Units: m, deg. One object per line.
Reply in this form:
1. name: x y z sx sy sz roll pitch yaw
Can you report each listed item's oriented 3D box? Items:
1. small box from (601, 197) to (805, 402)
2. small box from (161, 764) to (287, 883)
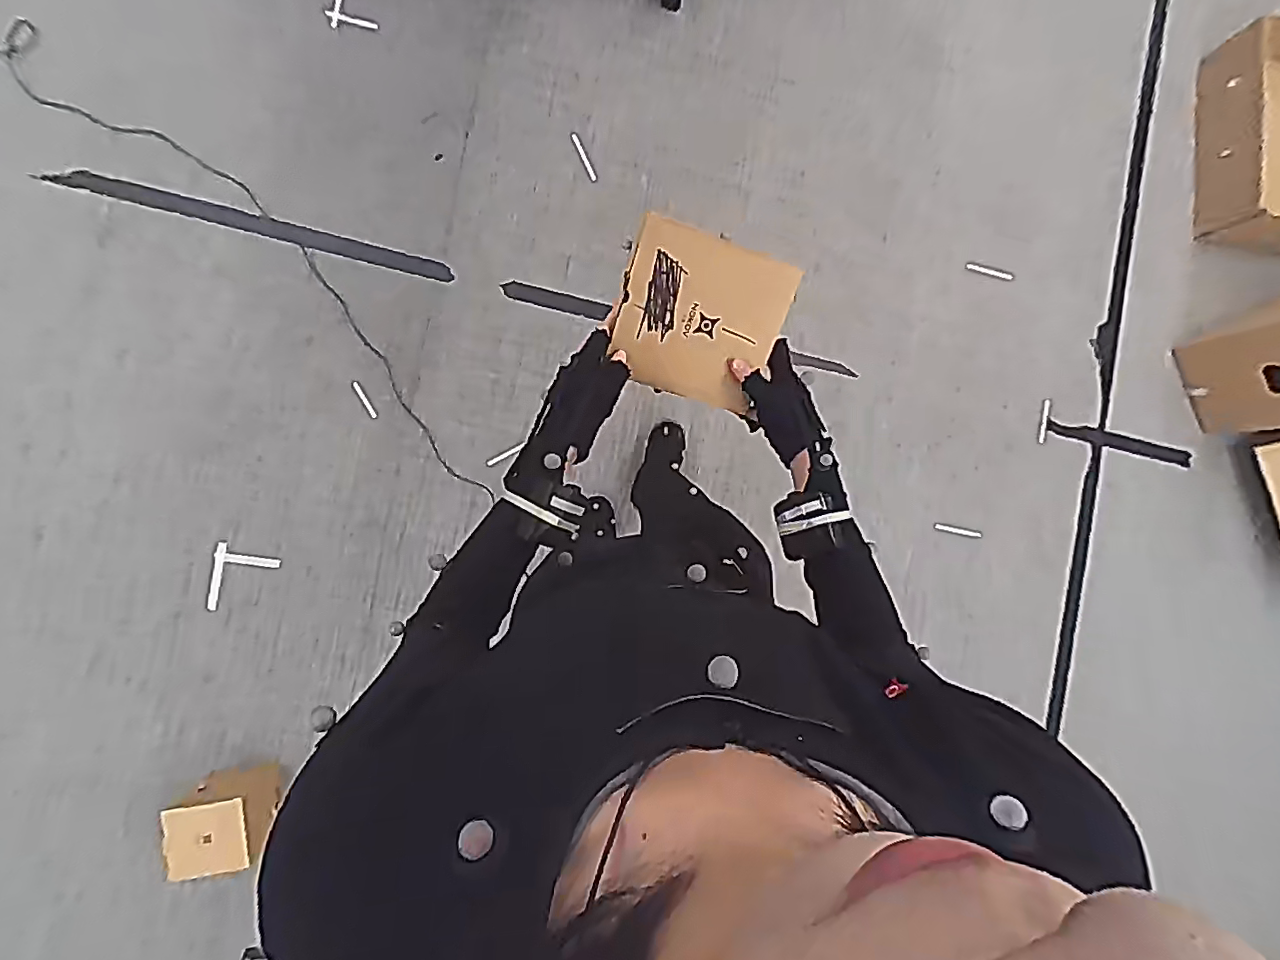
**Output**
1. small box: 0.060 -0.210 0.640 0.179 0.176 0.168 15 110 -9
2. small box: -0.995 0.818 1.305 0.179 0.176 0.168 -7 90 -7
